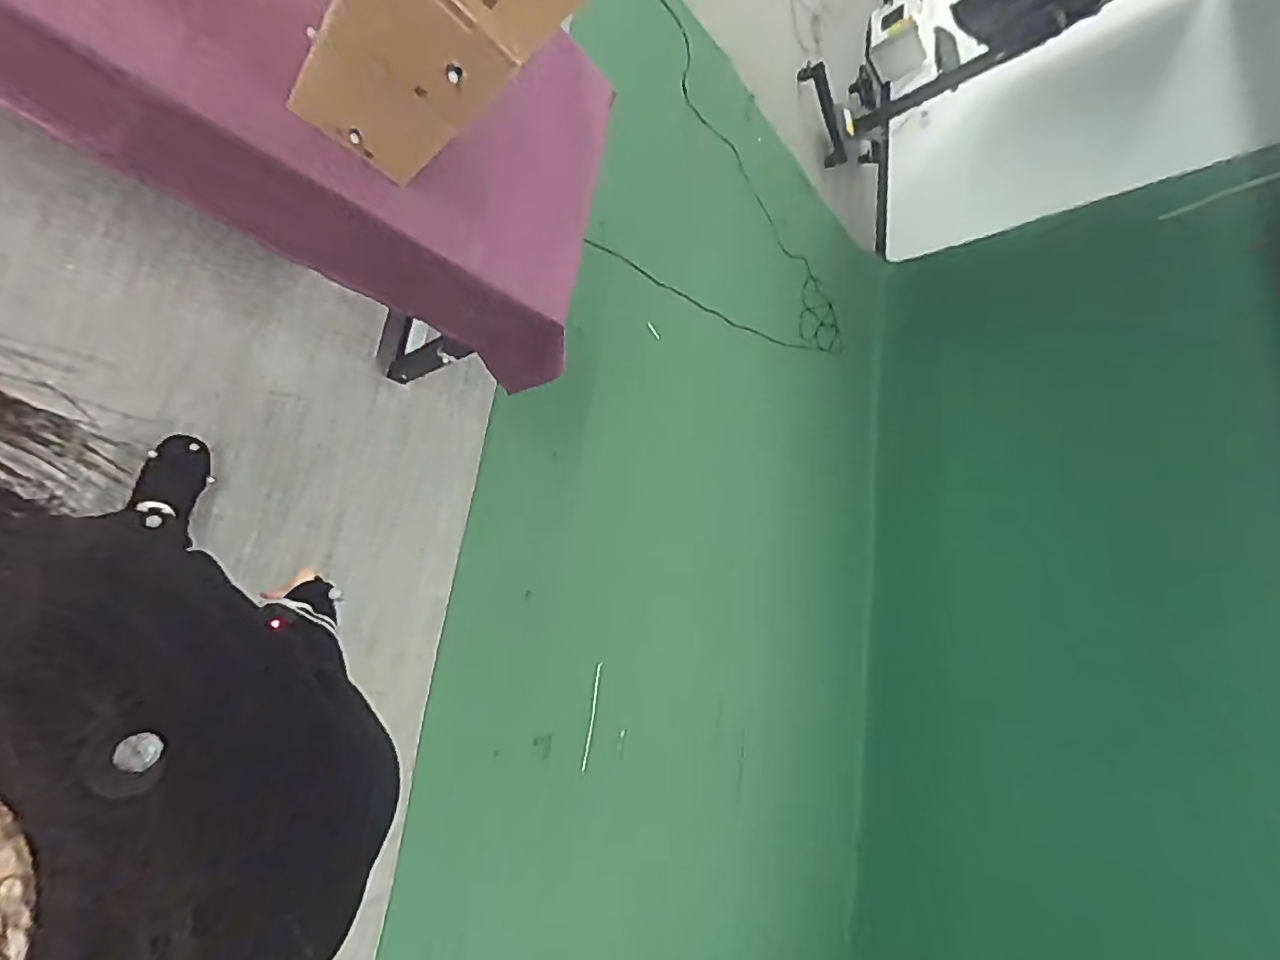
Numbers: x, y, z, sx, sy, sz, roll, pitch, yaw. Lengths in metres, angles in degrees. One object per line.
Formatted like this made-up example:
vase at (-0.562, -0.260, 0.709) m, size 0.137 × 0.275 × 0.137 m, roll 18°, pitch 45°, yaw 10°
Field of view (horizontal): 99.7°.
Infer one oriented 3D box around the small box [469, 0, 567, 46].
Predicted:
small box at (-0.122, -0.593, 0.528) m, size 0.168 × 0.176 × 0.179 m, roll 21°, pitch 71°, yaw -44°

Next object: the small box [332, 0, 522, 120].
small box at (-0.239, -0.583, 0.640) m, size 0.168 × 0.176 × 0.179 m, roll 21°, pitch 72°, yaw -44°
